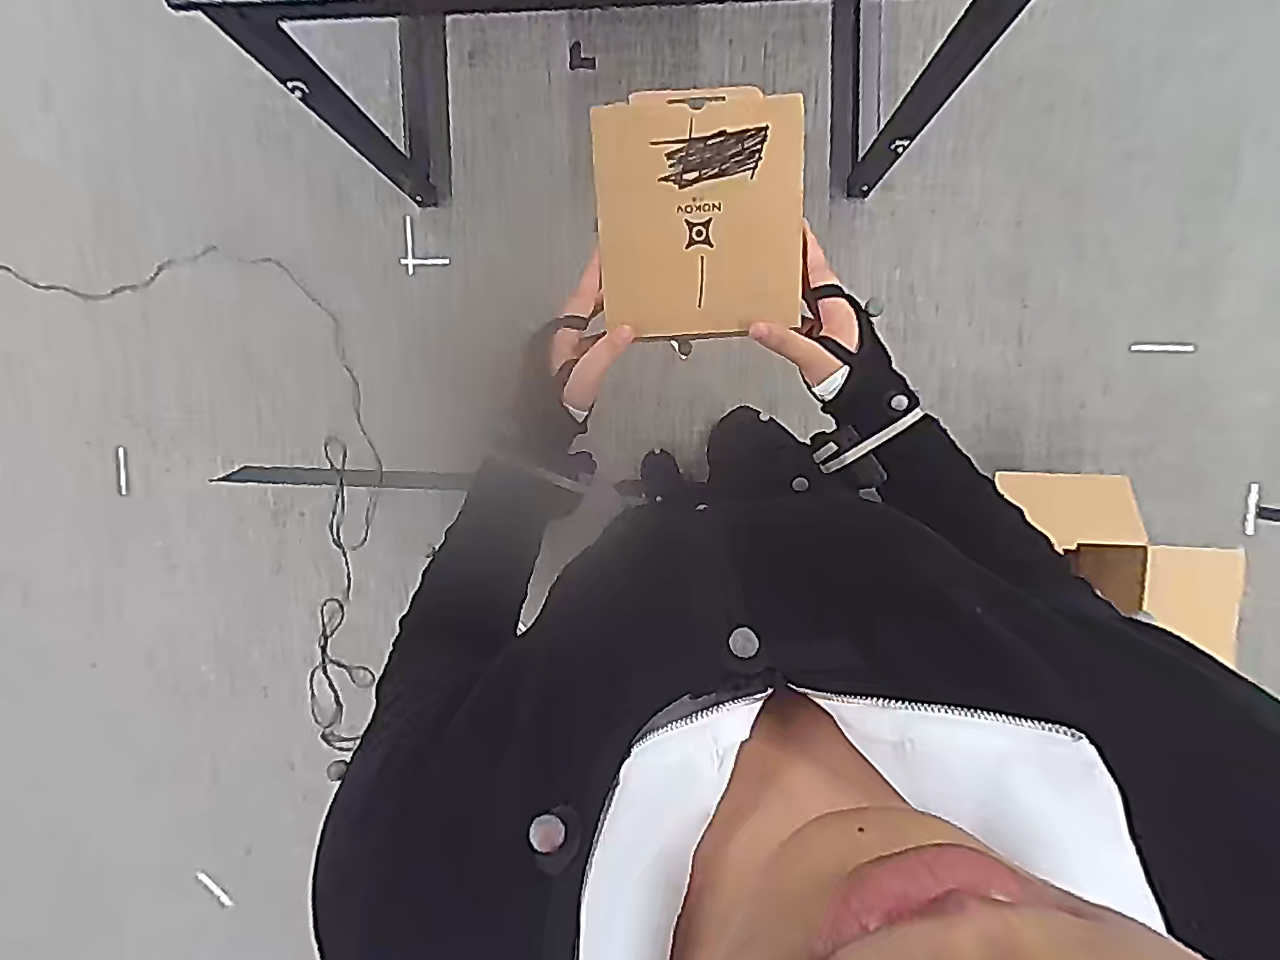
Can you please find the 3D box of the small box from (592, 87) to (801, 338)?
[{"bbox_3d":[0.046,-0.231,0.511,0.168,0.176,0.179,-3,103,1],"label":"small box"}]
